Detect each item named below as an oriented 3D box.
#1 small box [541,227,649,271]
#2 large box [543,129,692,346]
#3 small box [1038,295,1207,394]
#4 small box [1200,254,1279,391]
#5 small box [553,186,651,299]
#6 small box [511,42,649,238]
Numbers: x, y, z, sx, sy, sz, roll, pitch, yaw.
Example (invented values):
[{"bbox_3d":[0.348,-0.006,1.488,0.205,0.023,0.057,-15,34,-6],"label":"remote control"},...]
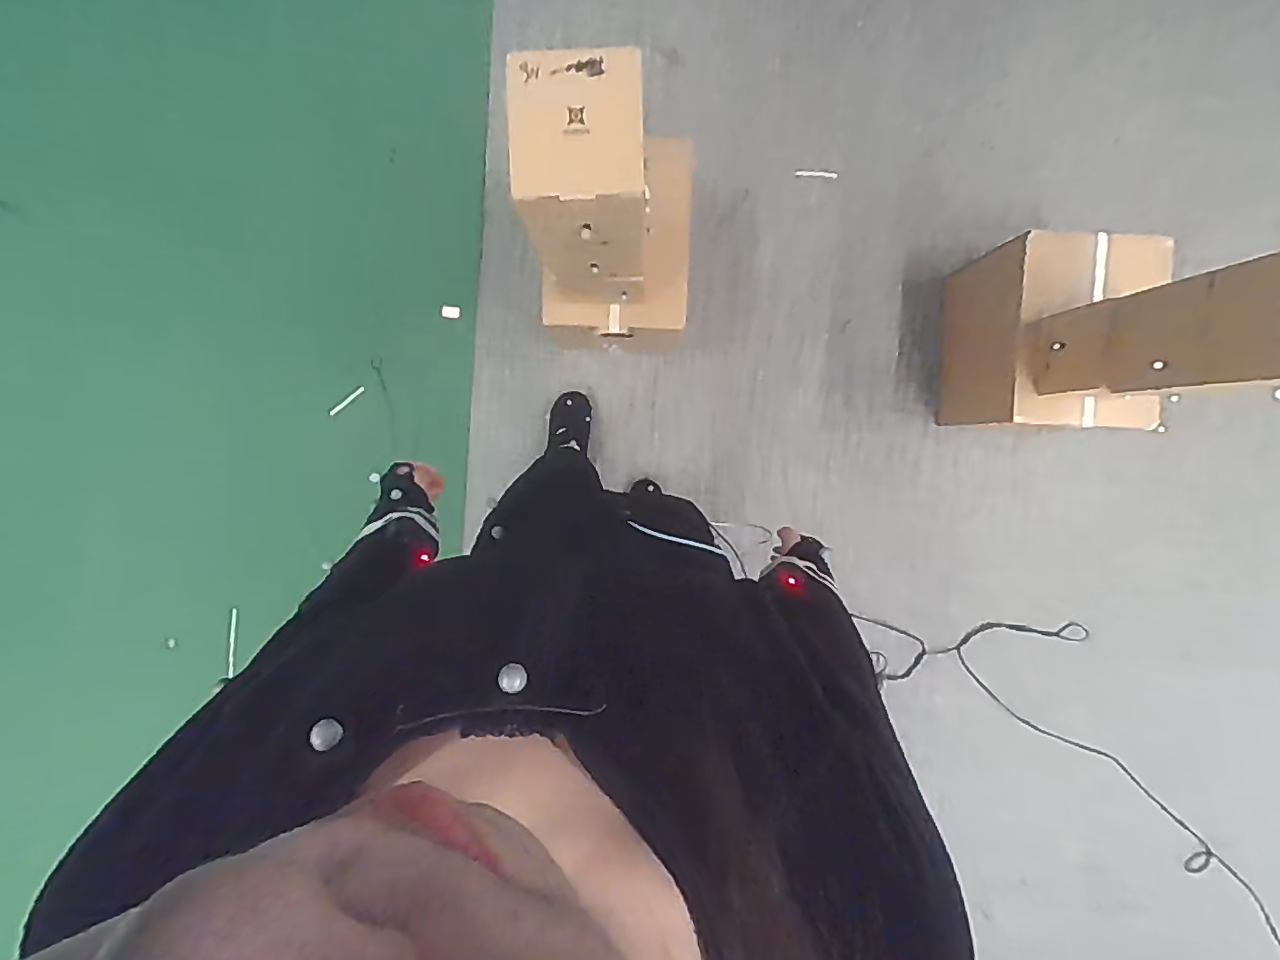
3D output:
[{"bbox_3d":[-0.070,-0.455,0.895,0.168,0.176,0.179,-2,93,1],"label":"small box"},{"bbox_3d":[-0.044,-0.549,1.296,0.320,0.320,0.408,3,94,0],"label":"large box"},{"bbox_3d":[0.937,-0.260,1.065,0.179,0.176,0.168,1,95,2],"label":"small box"},{"bbox_3d":[0.935,-0.219,0.737,0.168,0.176,0.179,5,97,1],"label":"small box"},{"bbox_3d":[-0.068,-0.461,1.059,0.179,0.176,0.168,2,94,2],"label":"small box"},{"bbox_3d":[-0.071,-0.441,0.731,0.168,0.176,0.179,0,95,1],"label":"small box"}]
